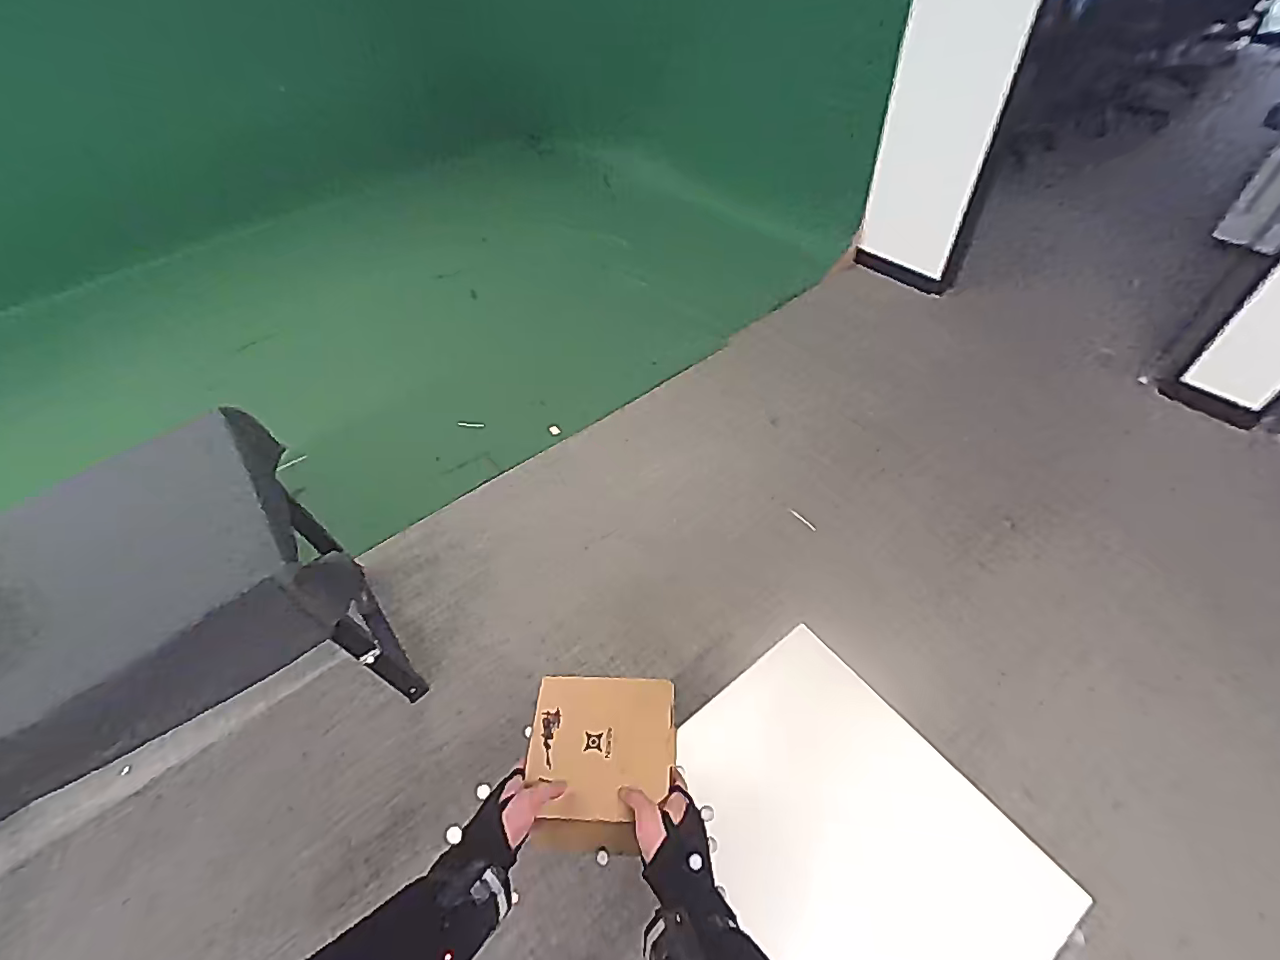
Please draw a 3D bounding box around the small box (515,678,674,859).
[{"bbox_3d":[-0.047,0.376,0.702,0.179,0.176,0.168,1,45,2],"label":"small box"}]
